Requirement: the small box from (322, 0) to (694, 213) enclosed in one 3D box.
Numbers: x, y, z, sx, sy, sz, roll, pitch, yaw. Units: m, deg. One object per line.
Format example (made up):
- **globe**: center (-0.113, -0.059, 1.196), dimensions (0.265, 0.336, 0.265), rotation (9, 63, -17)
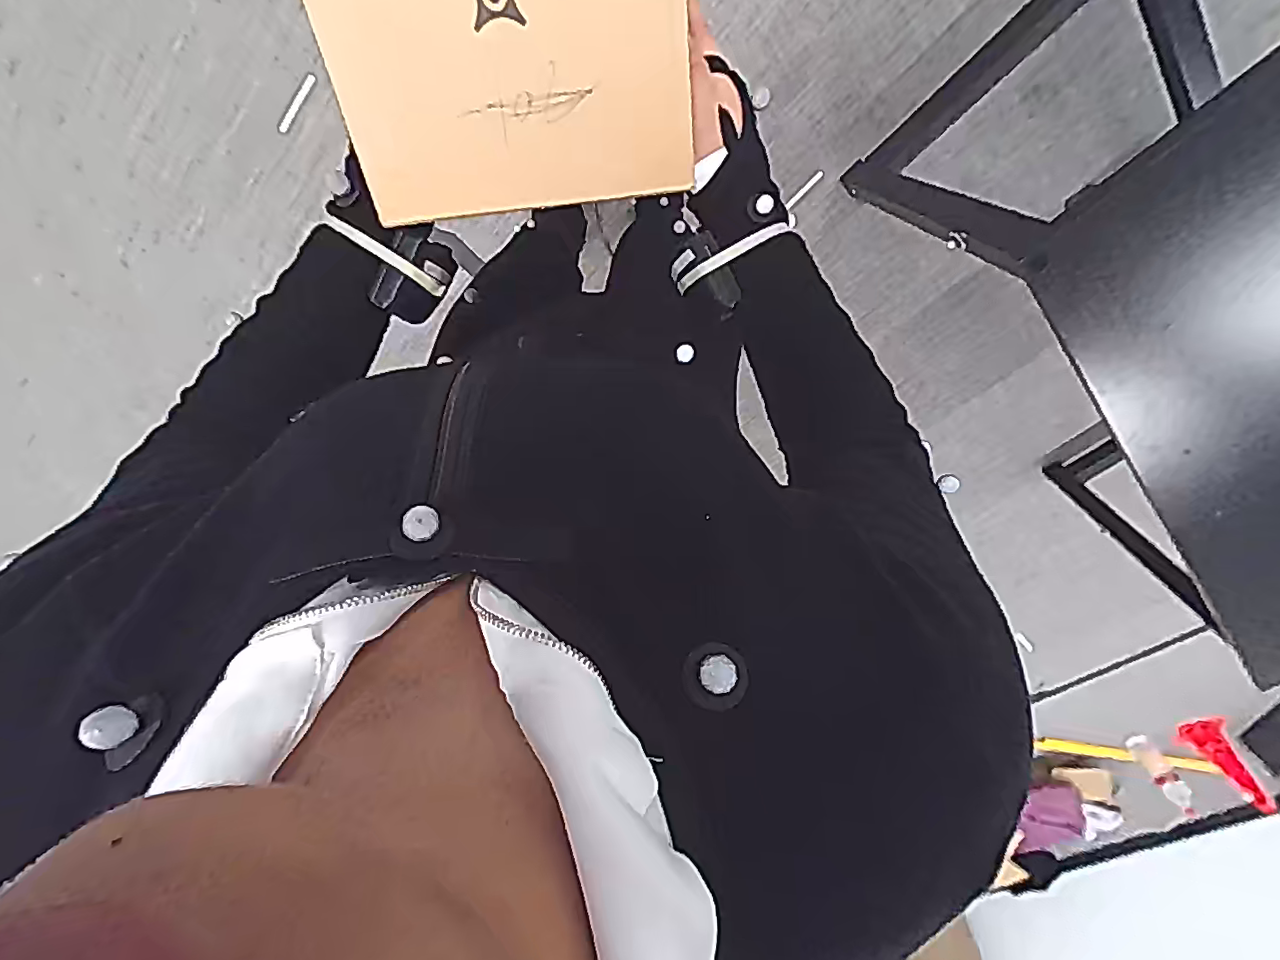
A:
- **small box**: center (-0.060, -0.265, 0.301), dimensions (0.168, 0.176, 0.179), rotation (-4, 127, 4)
